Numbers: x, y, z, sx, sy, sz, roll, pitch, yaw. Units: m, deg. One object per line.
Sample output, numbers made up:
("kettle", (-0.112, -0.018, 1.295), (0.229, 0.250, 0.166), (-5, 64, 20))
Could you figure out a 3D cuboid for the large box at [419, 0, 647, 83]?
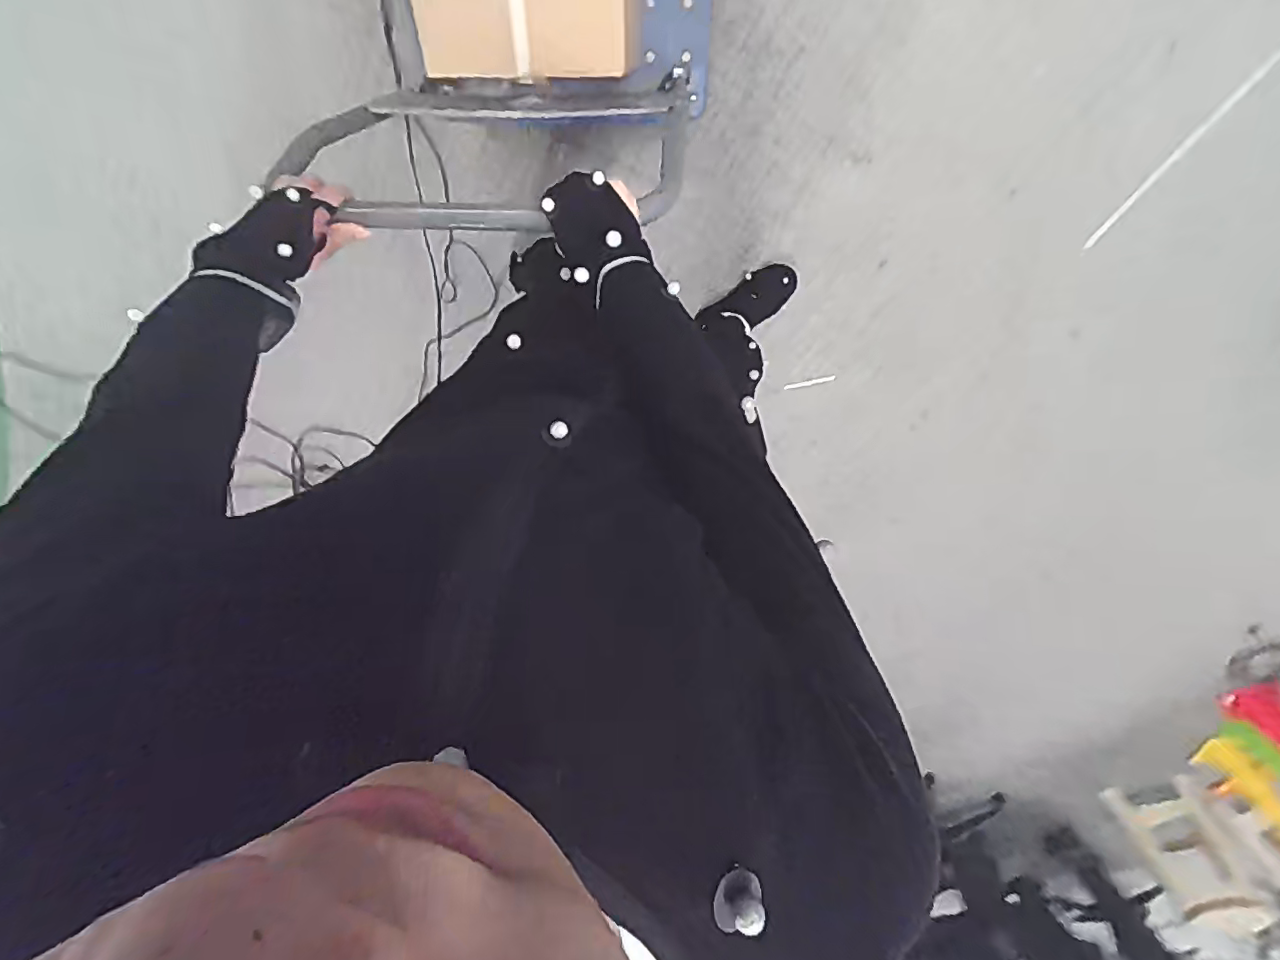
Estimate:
("large box", (-0.160, -0.867, 0.827), (0.320, 0.320, 0.408), (2, 129, 4))
